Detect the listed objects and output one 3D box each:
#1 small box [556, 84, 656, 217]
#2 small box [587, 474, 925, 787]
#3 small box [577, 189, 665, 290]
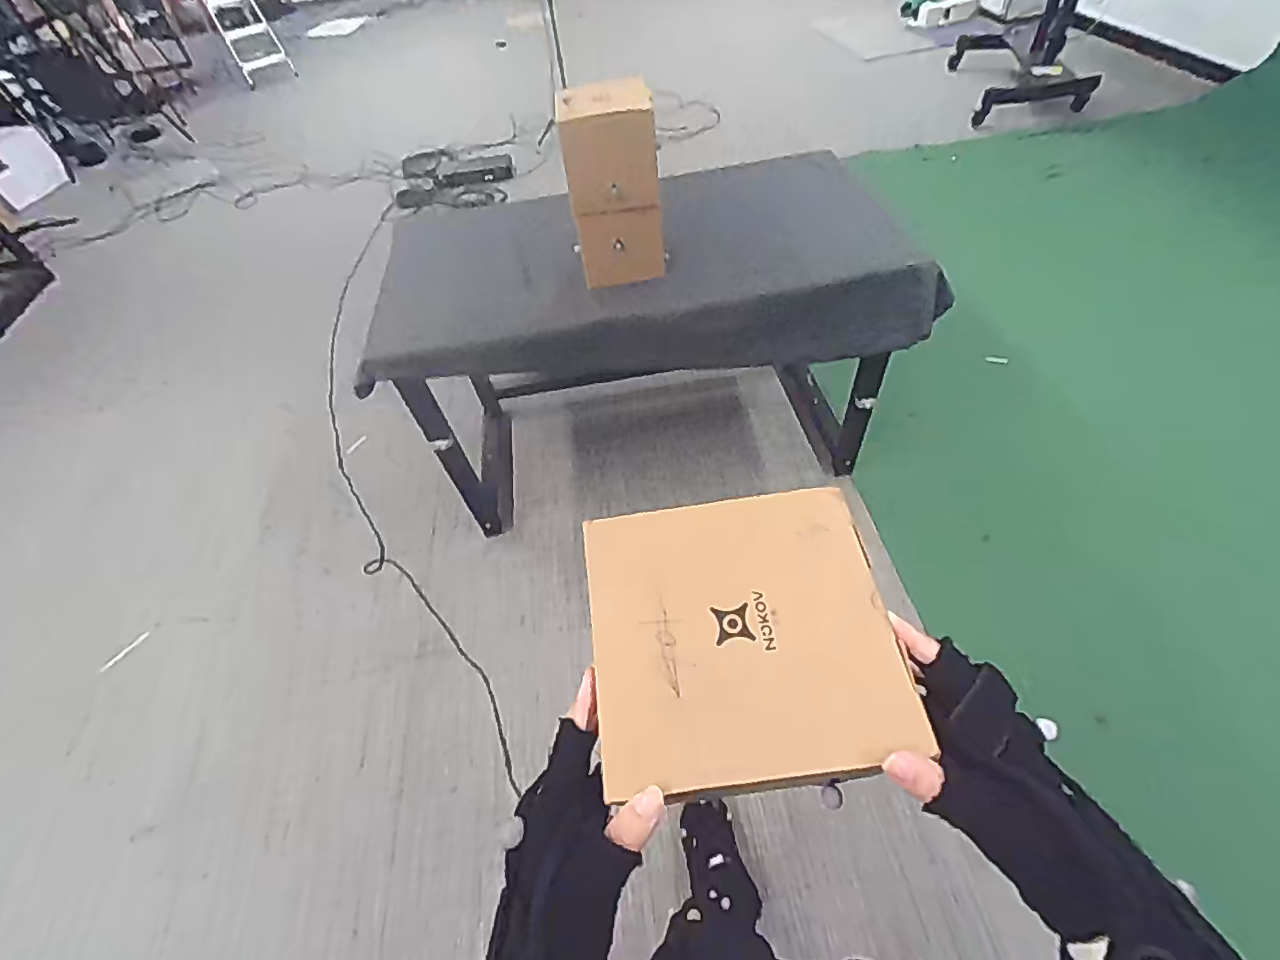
[{"bbox_3d":[-0.062,-0.641,1.056,0.179,0.176,0.168,-8,51,0],"label":"small box"},{"bbox_3d":[0.065,0.119,0.398,0.179,0.176,0.168,-10,57,1],"label":"small box"},{"bbox_3d":[-0.045,-0.544,1.187,0.179,0.176,0.168,-11,52,-3],"label":"small box"}]
